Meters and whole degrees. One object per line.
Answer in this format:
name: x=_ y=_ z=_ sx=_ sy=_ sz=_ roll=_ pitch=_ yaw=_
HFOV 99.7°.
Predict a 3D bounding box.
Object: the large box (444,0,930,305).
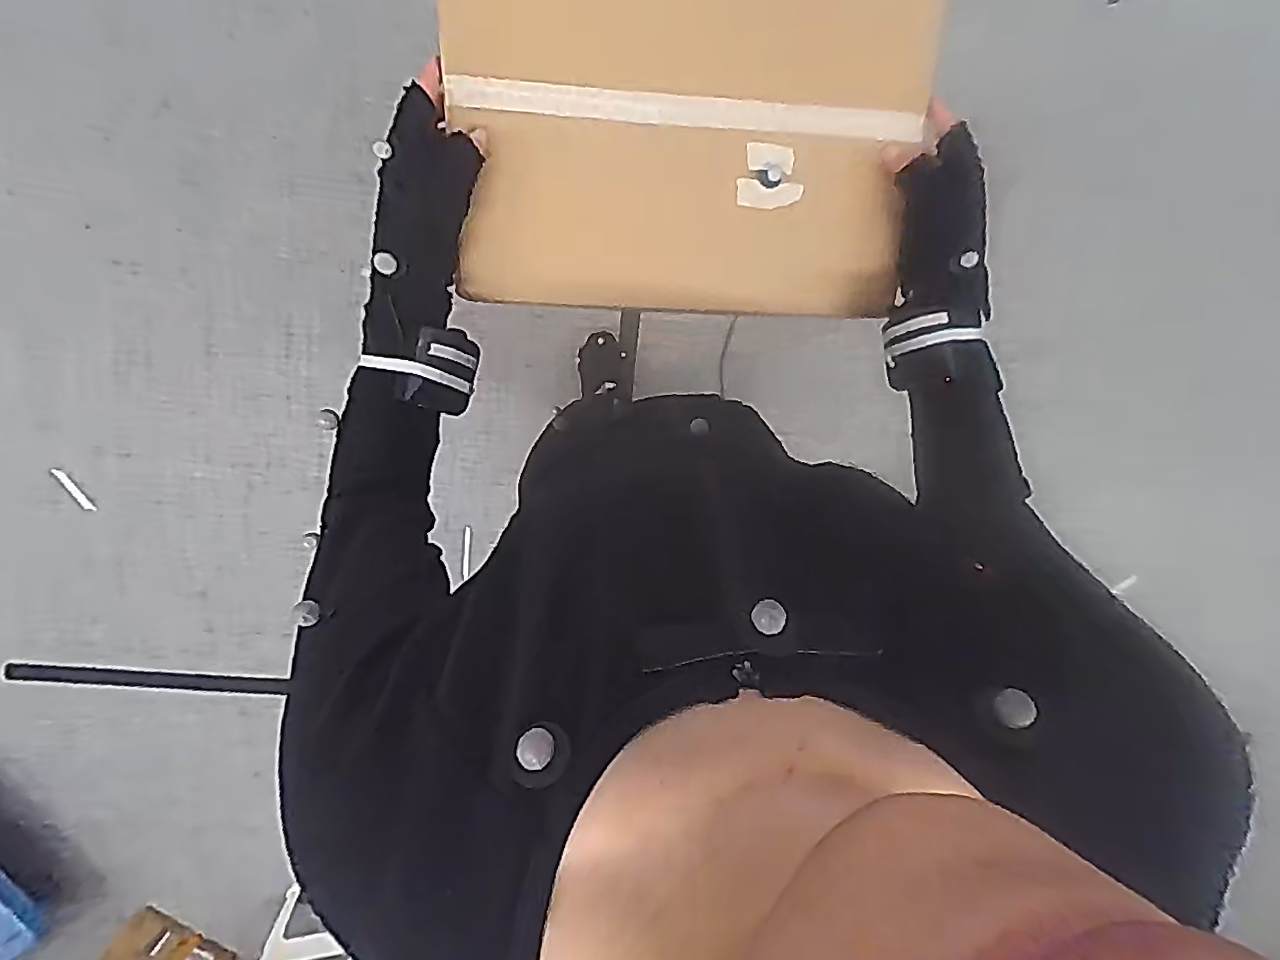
large box: x=0.025 y=-0.360 z=0.595 sx=0.408 sy=0.320 sz=0.320 roll=0 pitch=108 yaw=-8
